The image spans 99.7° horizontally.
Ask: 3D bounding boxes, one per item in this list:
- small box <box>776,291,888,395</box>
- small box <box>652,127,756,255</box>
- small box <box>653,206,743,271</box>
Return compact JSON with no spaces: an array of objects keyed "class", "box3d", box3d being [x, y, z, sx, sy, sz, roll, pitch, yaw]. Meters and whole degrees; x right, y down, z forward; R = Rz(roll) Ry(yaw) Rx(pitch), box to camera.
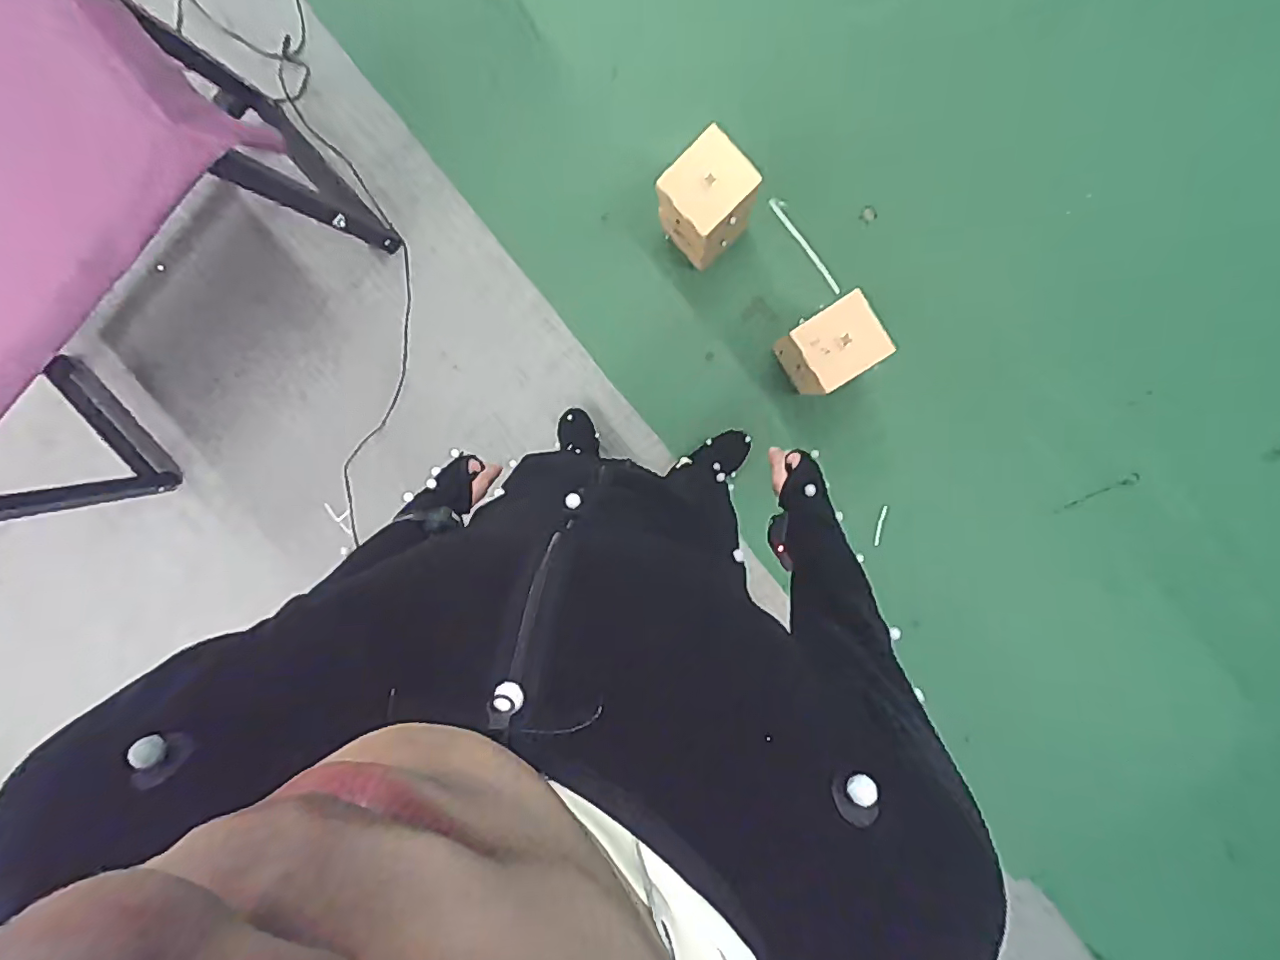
[{"class":"small box","box3d":[0.447,-0.319,1.289,0.179,0.176,0.168,-32,94,10]},{"class":"small box","box3d":[0.147,-0.668,1.274,0.179,0.176,0.168,-42,92,11]},{"class":"small box","box3d":[0.156,-0.689,1.434,0.179,0.176,0.168,-41,92,9]}]
